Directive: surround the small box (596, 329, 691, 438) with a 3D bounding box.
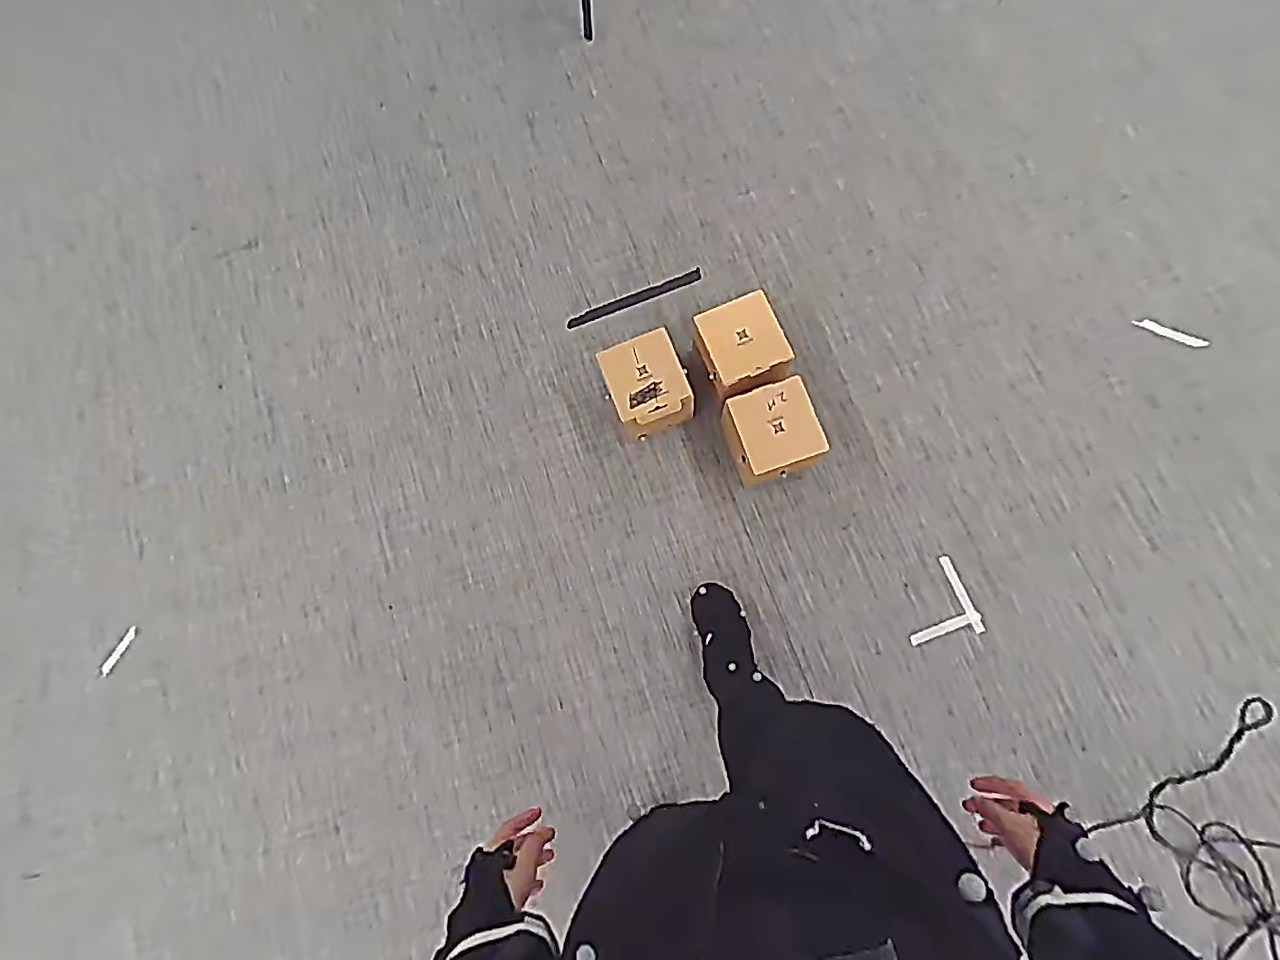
[{"bbox_3d":[0.015,-0.210,1.242,0.168,0.176,0.179,-21,77,1],"label":"small box"}]
